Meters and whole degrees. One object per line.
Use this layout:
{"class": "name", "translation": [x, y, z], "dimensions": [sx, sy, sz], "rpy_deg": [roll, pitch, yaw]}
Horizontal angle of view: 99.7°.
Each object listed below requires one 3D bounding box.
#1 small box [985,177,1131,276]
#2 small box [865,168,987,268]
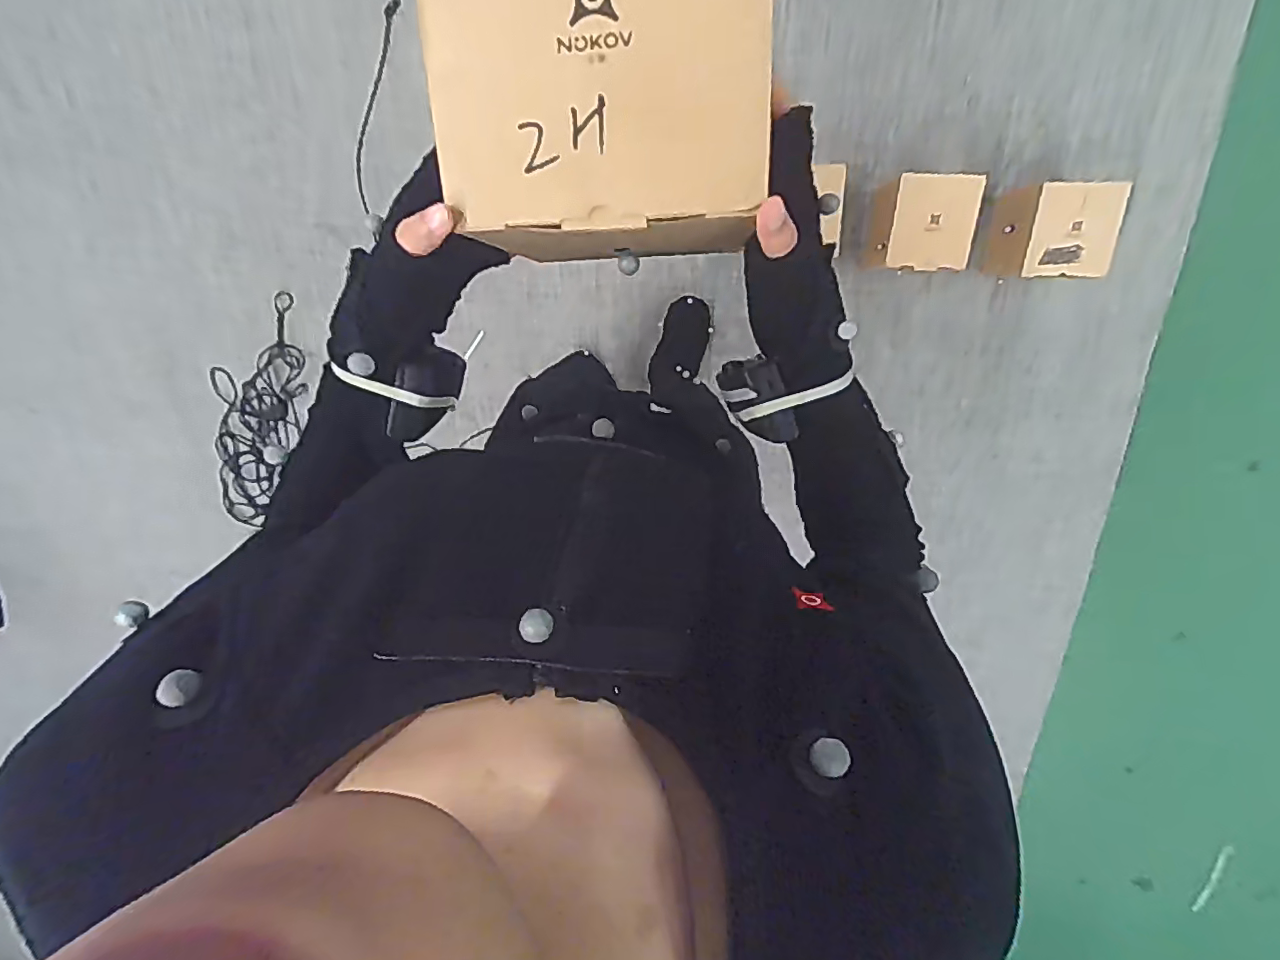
{"class": "small box", "translation": [0.868, -0.529, 1.147], "dimensions": [0.168, 0.176, 0.179], "rpy_deg": [3, 110, 4]}
{"class": "small box", "translation": [0.601, -0.555, 1.163], "dimensions": [0.168, 0.176, 0.179], "rpy_deg": [3, 111, 4]}
